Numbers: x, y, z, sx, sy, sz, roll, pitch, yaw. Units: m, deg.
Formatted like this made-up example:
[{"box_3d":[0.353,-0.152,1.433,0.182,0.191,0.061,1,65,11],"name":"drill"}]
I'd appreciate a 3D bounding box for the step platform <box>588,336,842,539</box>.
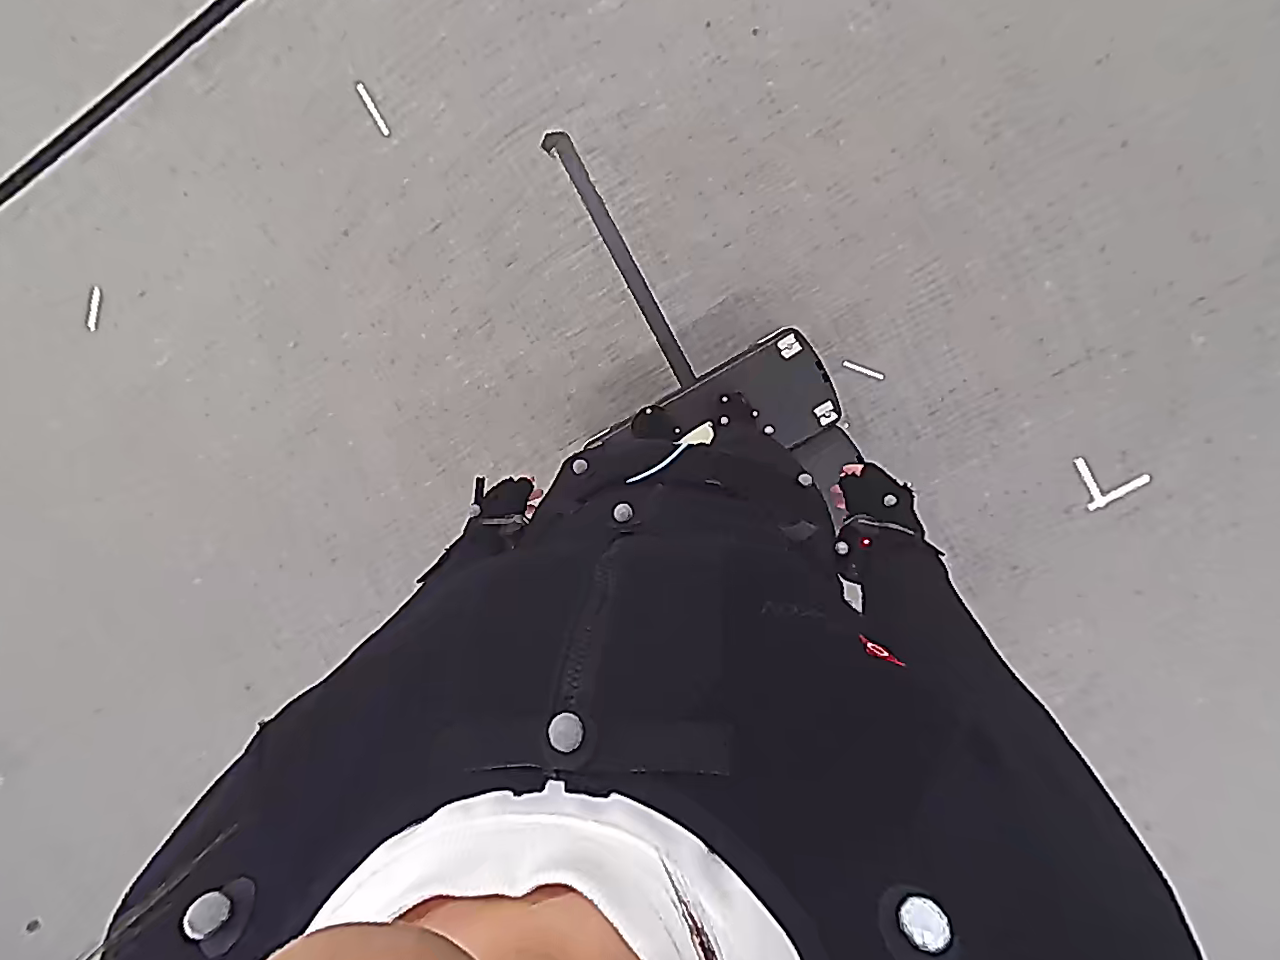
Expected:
[{"box_3d":[0.195,-0.113,1.500,0.684,0.204,0.286,-30,97,8],"name":"step platform"}]
